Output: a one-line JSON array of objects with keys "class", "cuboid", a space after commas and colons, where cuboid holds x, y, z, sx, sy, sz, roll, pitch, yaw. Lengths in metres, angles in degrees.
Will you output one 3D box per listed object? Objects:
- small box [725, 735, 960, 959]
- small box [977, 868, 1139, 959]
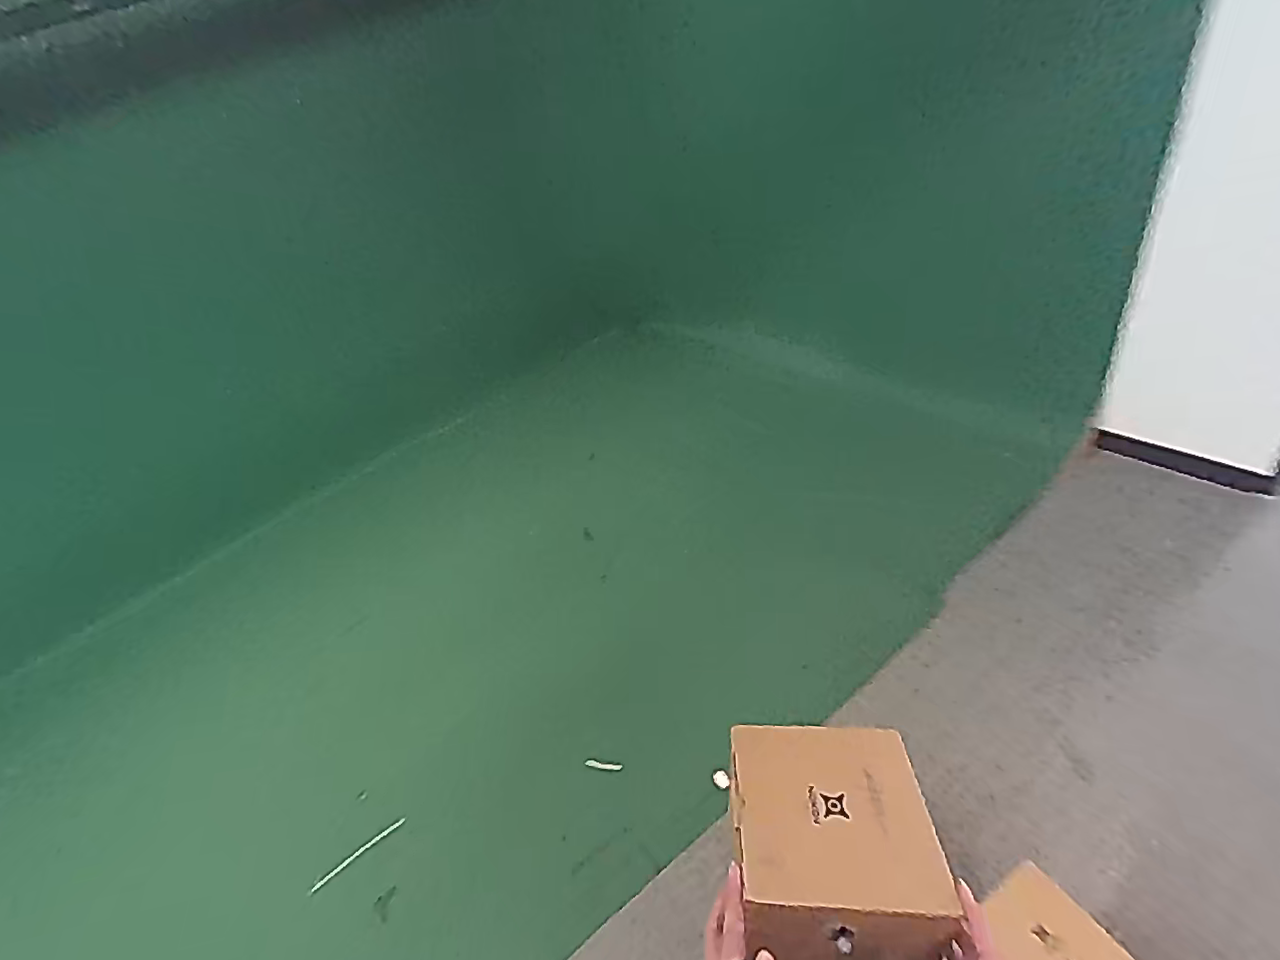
[{"class": "small box", "cuboid": [0.178, 0.379, 0.535, 0.179, 0.176, 0.168, -2, 29, 6]}, {"class": "small box", "cuboid": [0.717, 0.832, 0.934, 0.168, 0.176, 0.179, -32, 38, -12]}]
